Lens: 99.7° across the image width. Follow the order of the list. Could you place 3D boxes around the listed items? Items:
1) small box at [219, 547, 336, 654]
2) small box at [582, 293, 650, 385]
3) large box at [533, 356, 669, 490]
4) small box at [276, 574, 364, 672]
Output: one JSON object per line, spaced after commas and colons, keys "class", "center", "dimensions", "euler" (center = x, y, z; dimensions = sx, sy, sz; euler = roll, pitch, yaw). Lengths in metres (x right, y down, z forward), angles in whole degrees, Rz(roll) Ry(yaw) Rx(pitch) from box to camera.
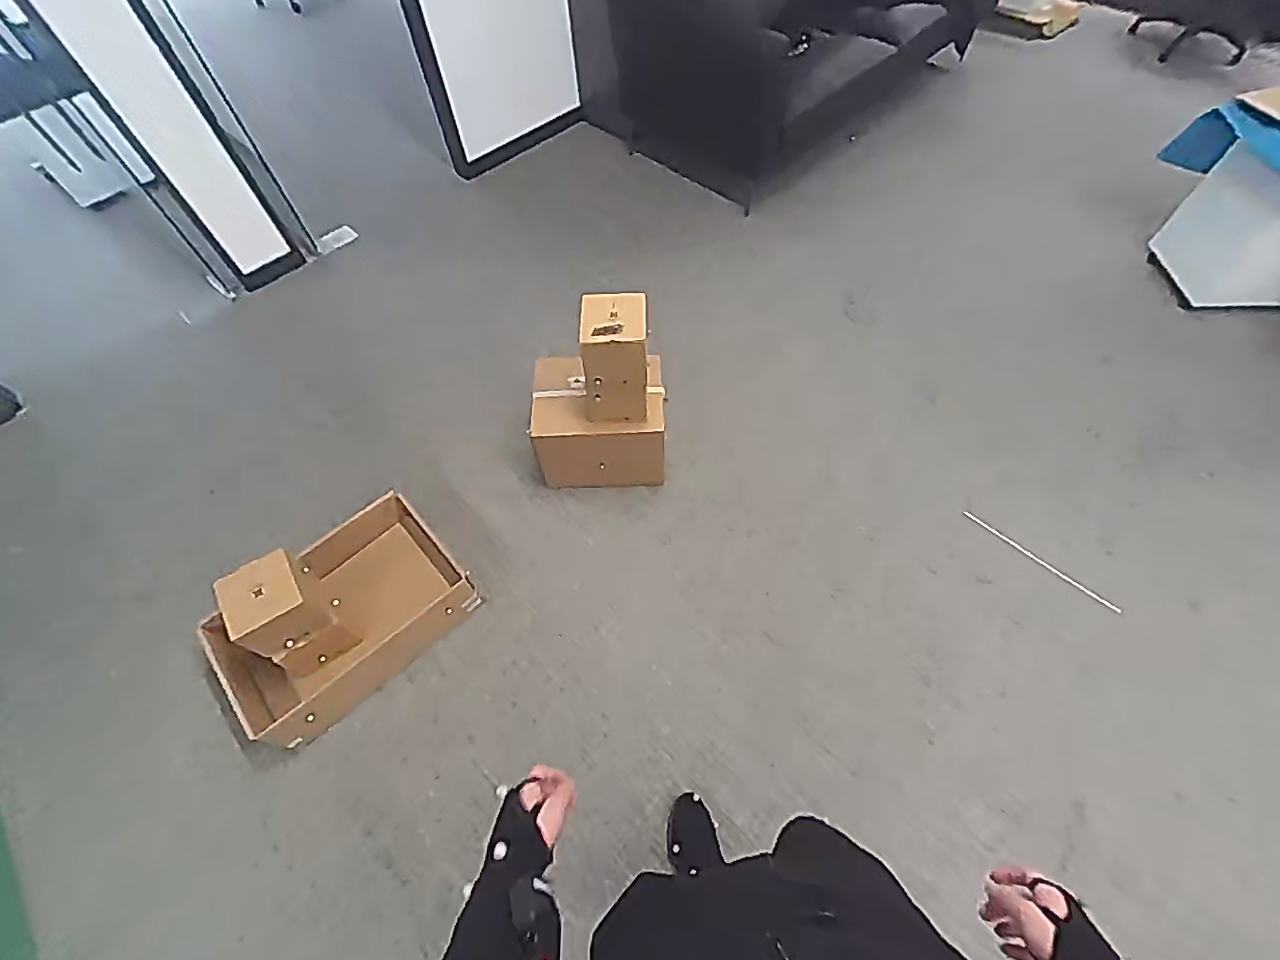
{"class": "small box", "center": [-0.904, 0.307, 1.359], "dimensions": [0.168, 0.176, 0.179], "euler": [-31, 63, -18]}
{"class": "small box", "center": [-0.057, -0.366, 1.427], "dimensions": [0.168, 0.176, 0.179], "euler": [-1, 58, 2]}
{"class": "large box", "center": [-0.115, -0.181, 1.797], "dimensions": [0.408, 0.320, 0.320], "euler": [-3, 58, 2]}
{"class": "small box", "center": [-0.902, 0.400, 1.493], "dimensions": [0.168, 0.176, 0.179], "euler": [-34, 64, -21]}
